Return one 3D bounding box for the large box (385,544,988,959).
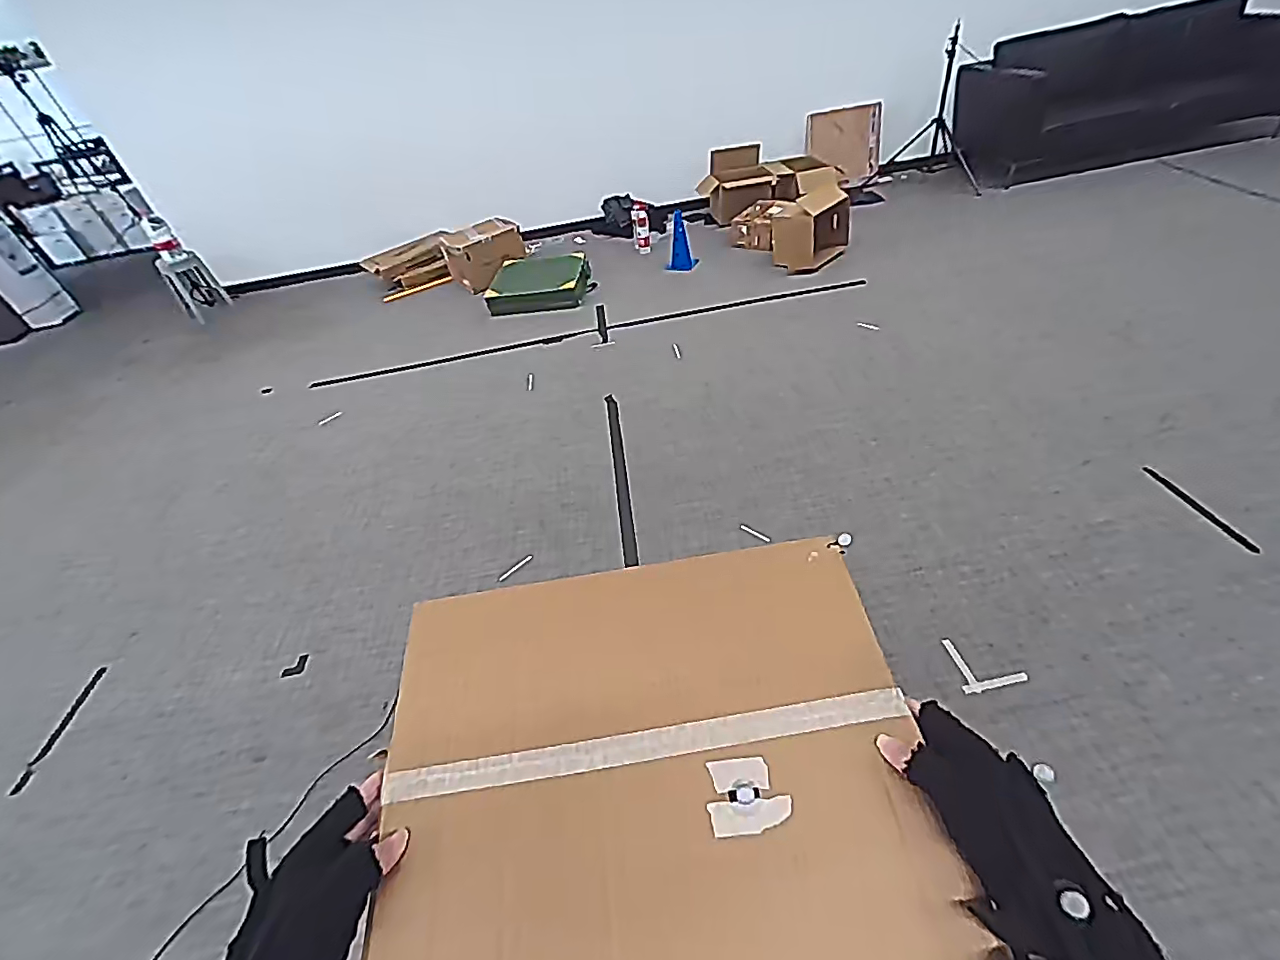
[{"bbox_3d":[0.022,0.305,0.547,0.408,0.320,0.320,-9,52,0],"label":"large box"}]
